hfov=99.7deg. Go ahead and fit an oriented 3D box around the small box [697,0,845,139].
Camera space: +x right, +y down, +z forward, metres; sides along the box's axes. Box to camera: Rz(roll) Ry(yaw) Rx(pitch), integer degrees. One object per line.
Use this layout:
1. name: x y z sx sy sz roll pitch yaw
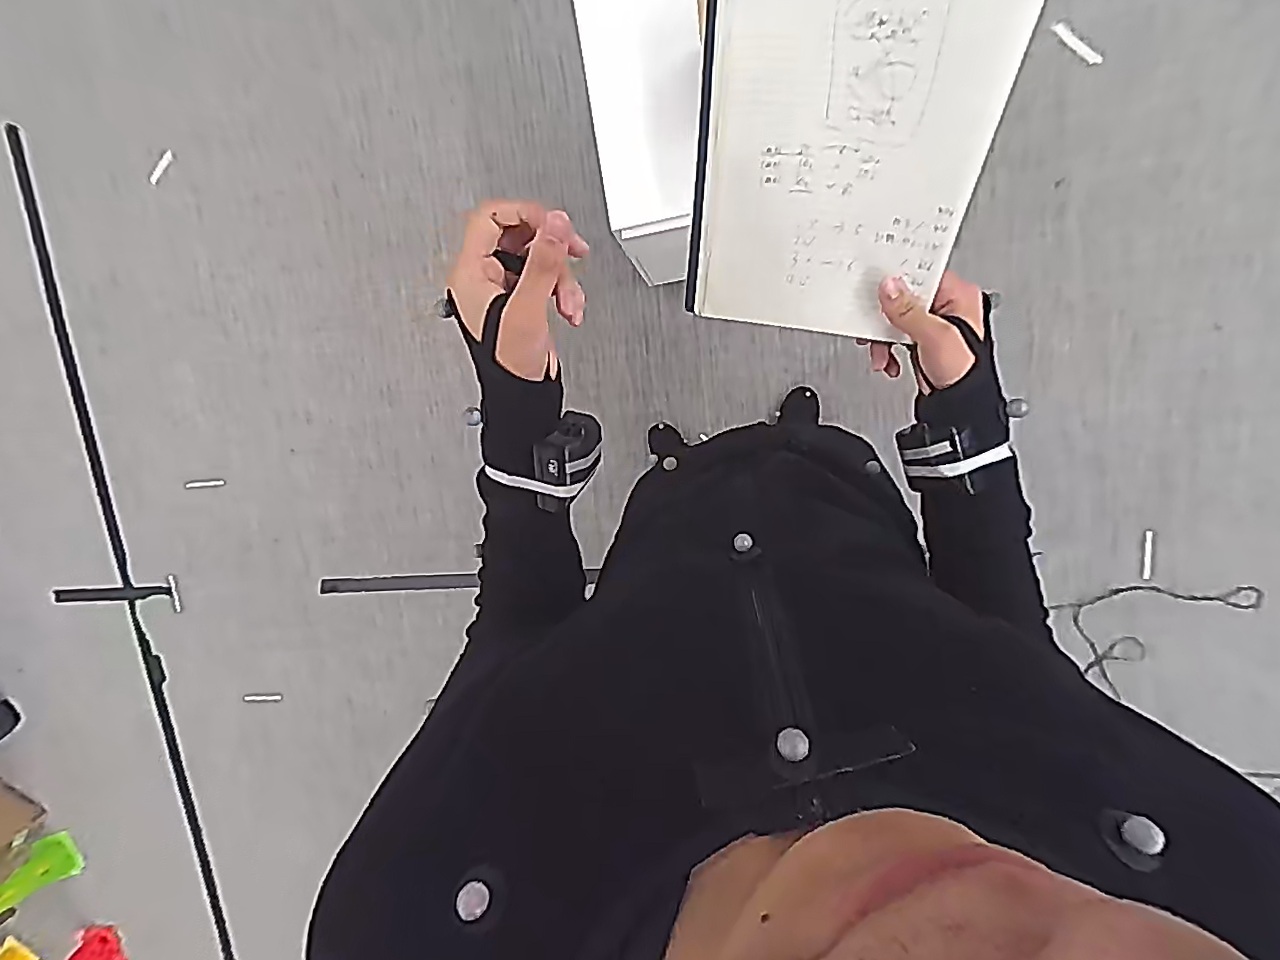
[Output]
1. small box: 0.189 -0.669 0.827 0.179 0.176 0.168 -17 96 11
